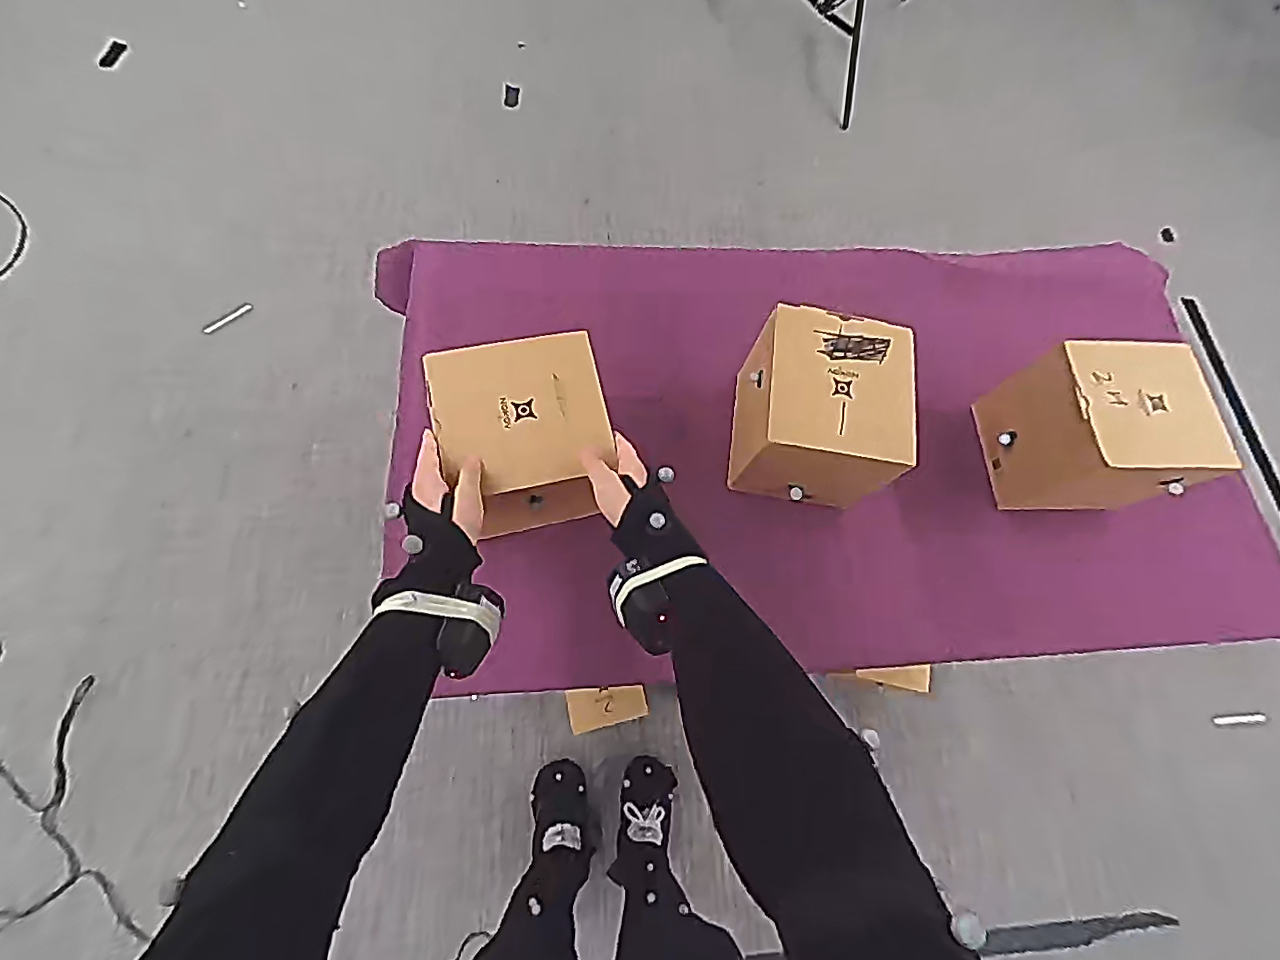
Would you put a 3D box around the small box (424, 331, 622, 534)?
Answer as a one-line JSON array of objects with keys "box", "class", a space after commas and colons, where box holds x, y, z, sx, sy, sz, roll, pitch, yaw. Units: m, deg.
[{"box": [-0.129, -0.045, 0.624, 0.179, 0.176, 0.168, -12, 75, -12], "class": "small box"}]

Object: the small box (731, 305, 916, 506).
[{"box": [0.216, -0.082, 0.671, 0.168, 0.176, 0.179, 9, 71, -2], "class": "small box"}]

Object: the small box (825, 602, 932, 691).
[{"box": [0.576, 0.405, 1.318, 0.179, 0.176, 0.168, 14, 71, 0], "class": "small box"}]

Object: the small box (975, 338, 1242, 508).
[{"box": [0.585, -0.065, 0.702, 0.179, 0.176, 0.168, 0, 71, -5], "class": "small box"}]
